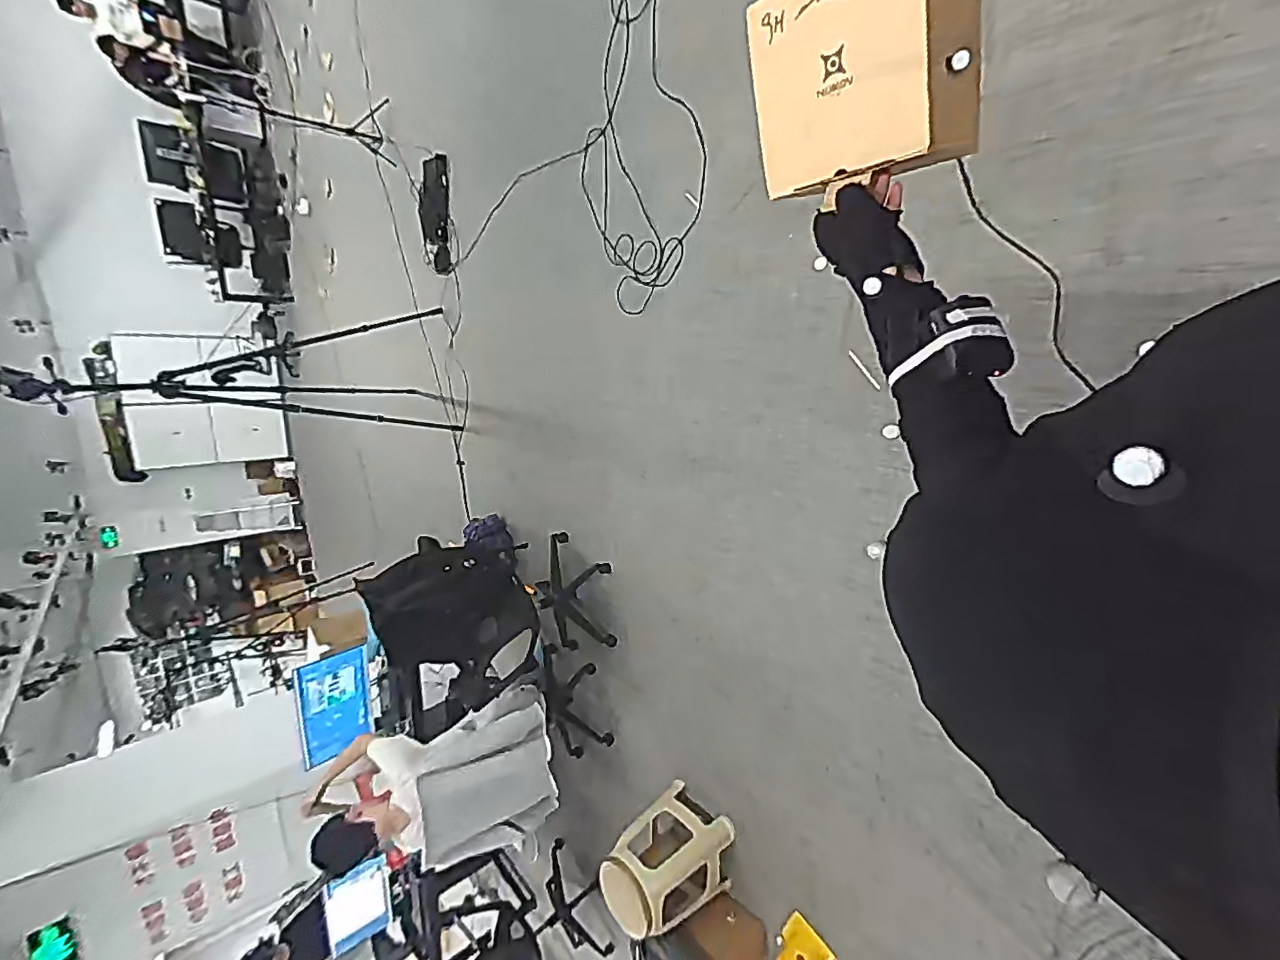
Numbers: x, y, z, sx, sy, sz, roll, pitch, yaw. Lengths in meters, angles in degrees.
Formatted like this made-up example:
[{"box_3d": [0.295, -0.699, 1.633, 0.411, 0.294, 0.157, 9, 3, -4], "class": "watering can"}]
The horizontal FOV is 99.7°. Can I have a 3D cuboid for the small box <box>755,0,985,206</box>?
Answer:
[{"box_3d": [0.245, -0.408, 0.563, 0.168, 0.176, 0.179, 8, 120, 44], "class": "small box"}]
